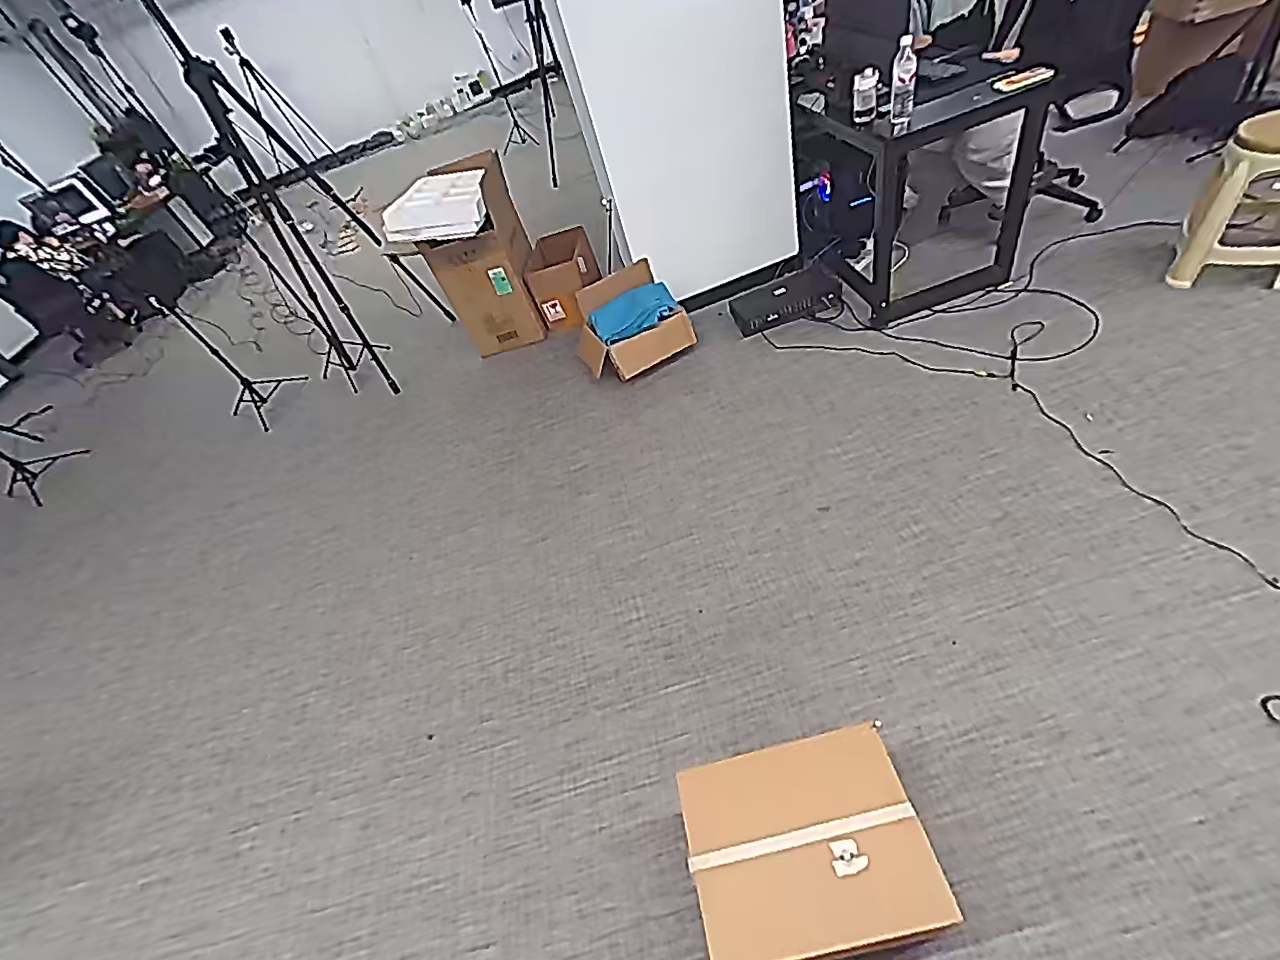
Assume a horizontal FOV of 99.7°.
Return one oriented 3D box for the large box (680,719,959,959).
[{"bbox_3d":[0.329,0.731,1.069,0.408,0.320,0.320,-17,45,4],"label":"large box"}]
